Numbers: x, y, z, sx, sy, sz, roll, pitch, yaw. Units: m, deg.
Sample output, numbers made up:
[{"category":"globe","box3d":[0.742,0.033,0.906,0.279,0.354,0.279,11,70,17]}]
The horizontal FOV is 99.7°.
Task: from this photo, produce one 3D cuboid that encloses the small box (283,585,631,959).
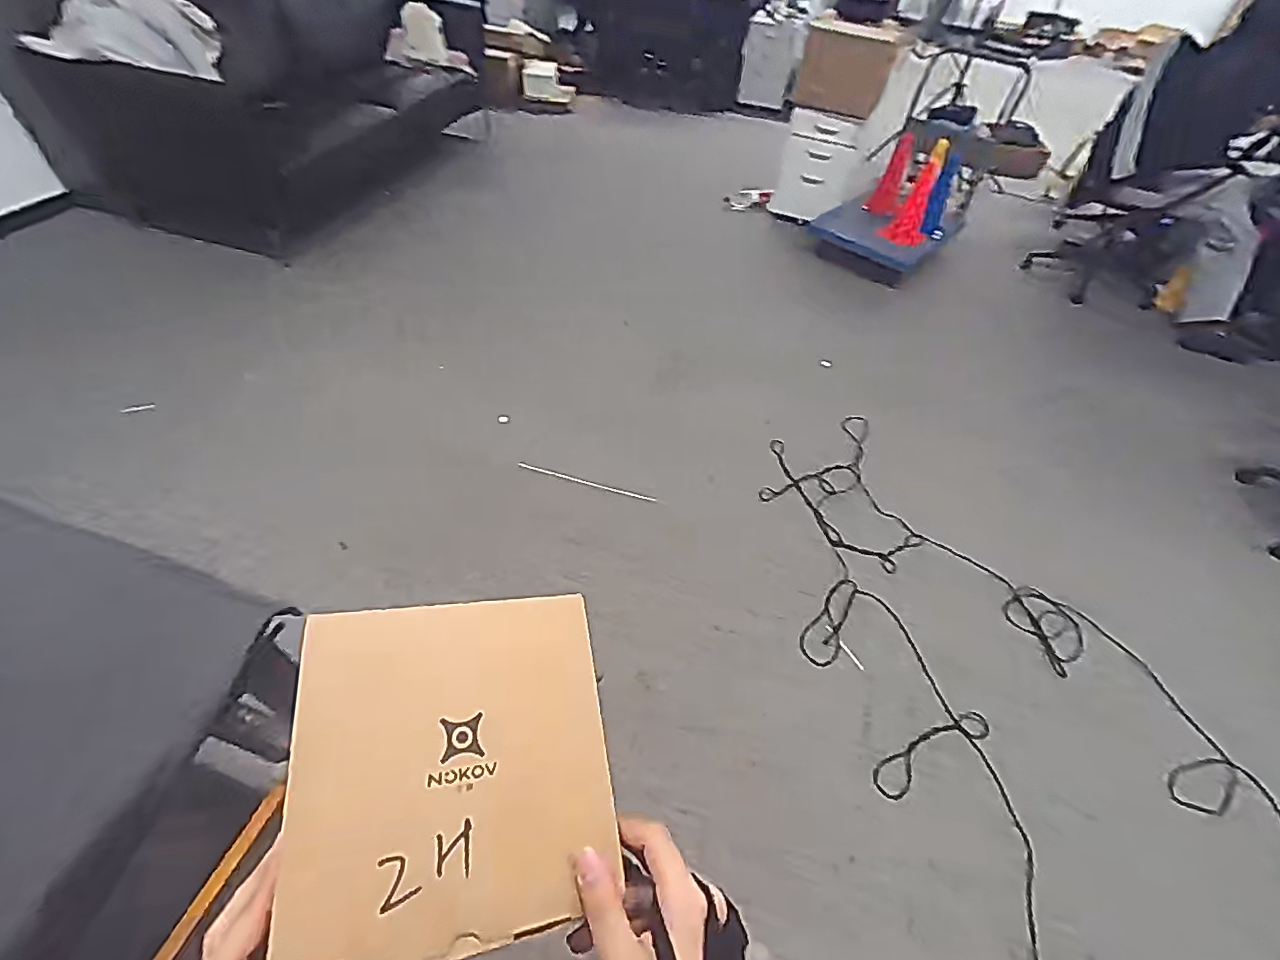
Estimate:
[{"category":"small box","box3d":[-0.119,0.188,0.368,0.168,0.176,0.179,0,58,-20]}]
